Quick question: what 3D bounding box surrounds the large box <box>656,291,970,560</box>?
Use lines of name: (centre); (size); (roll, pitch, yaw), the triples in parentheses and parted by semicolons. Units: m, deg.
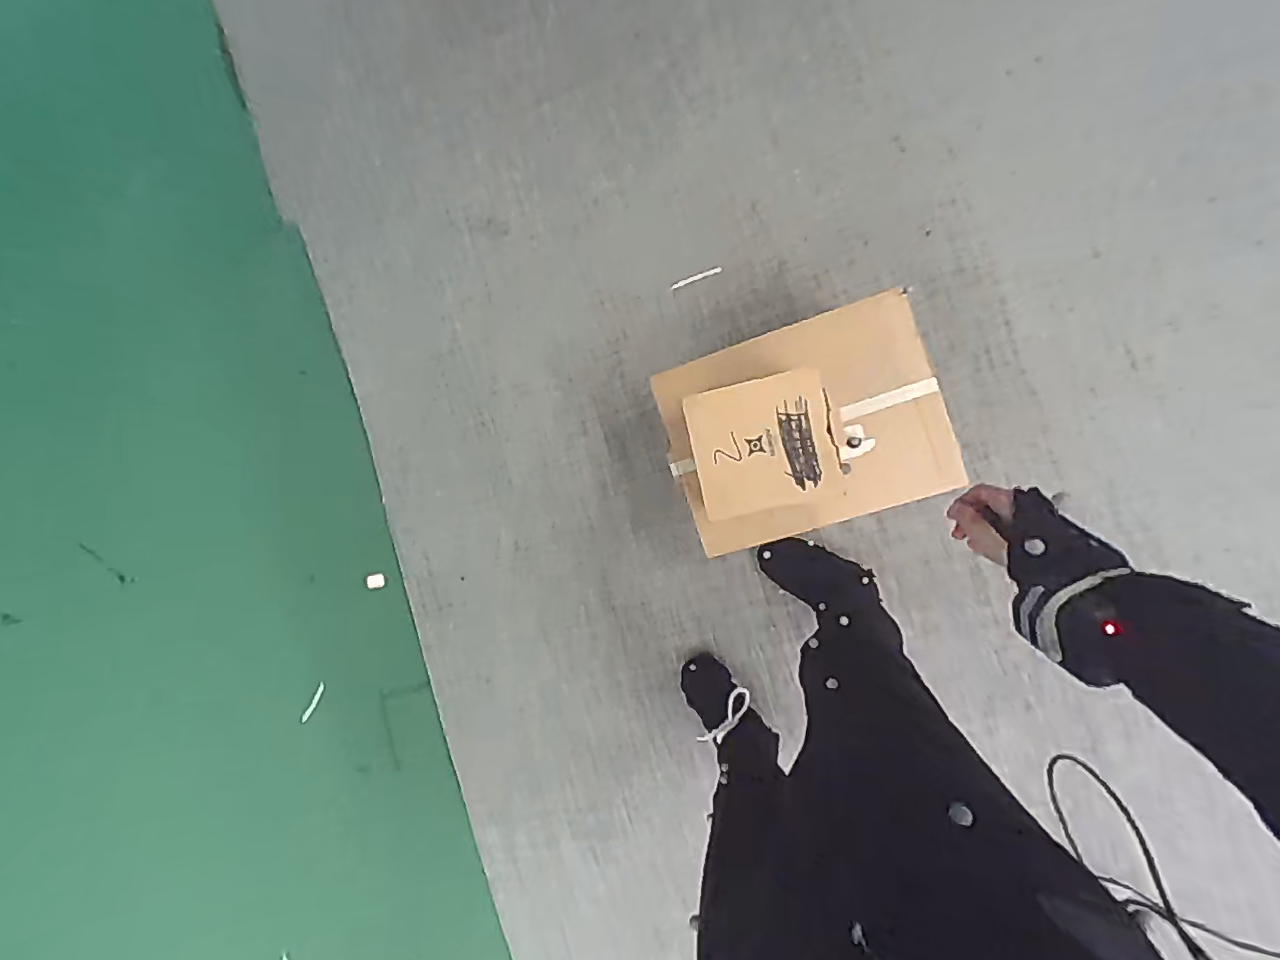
large box: (0.281, -0.078, 0.977); (0.408, 0.320, 0.320); (-18, 89, 10)
